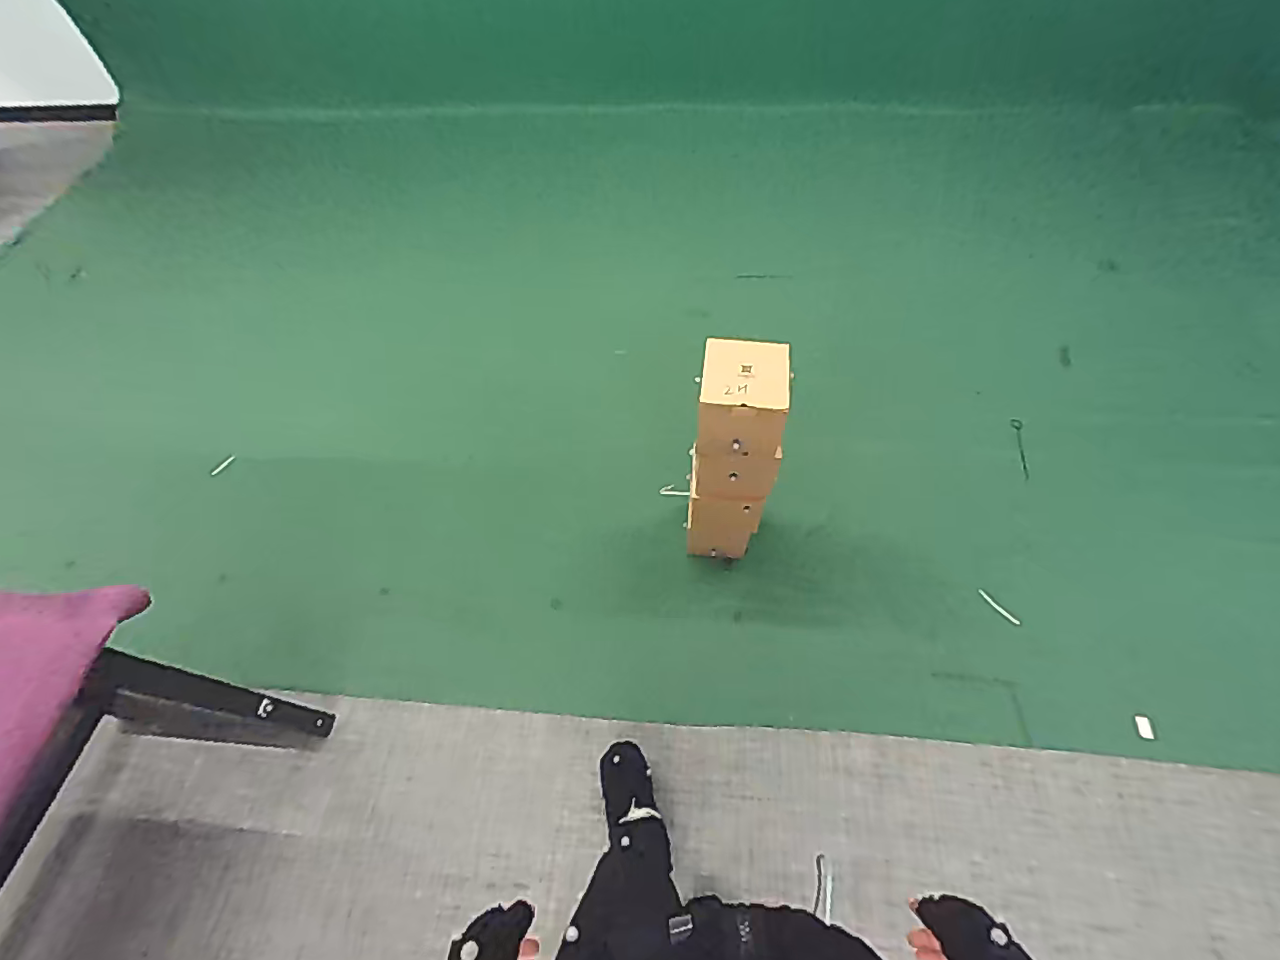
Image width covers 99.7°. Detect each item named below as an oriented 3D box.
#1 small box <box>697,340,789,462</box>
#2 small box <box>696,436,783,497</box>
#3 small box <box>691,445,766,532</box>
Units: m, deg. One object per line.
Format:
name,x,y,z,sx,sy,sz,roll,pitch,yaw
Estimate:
small box,0.208,-0.161,1.113,0.168,0.176,0.179,6,58,7
small box,0.223,-0.071,1.251,0.179,0.176,0.168,1,58,4
small box,0.222,0.024,1.385,0.179,0.176,0.168,3,58,4
